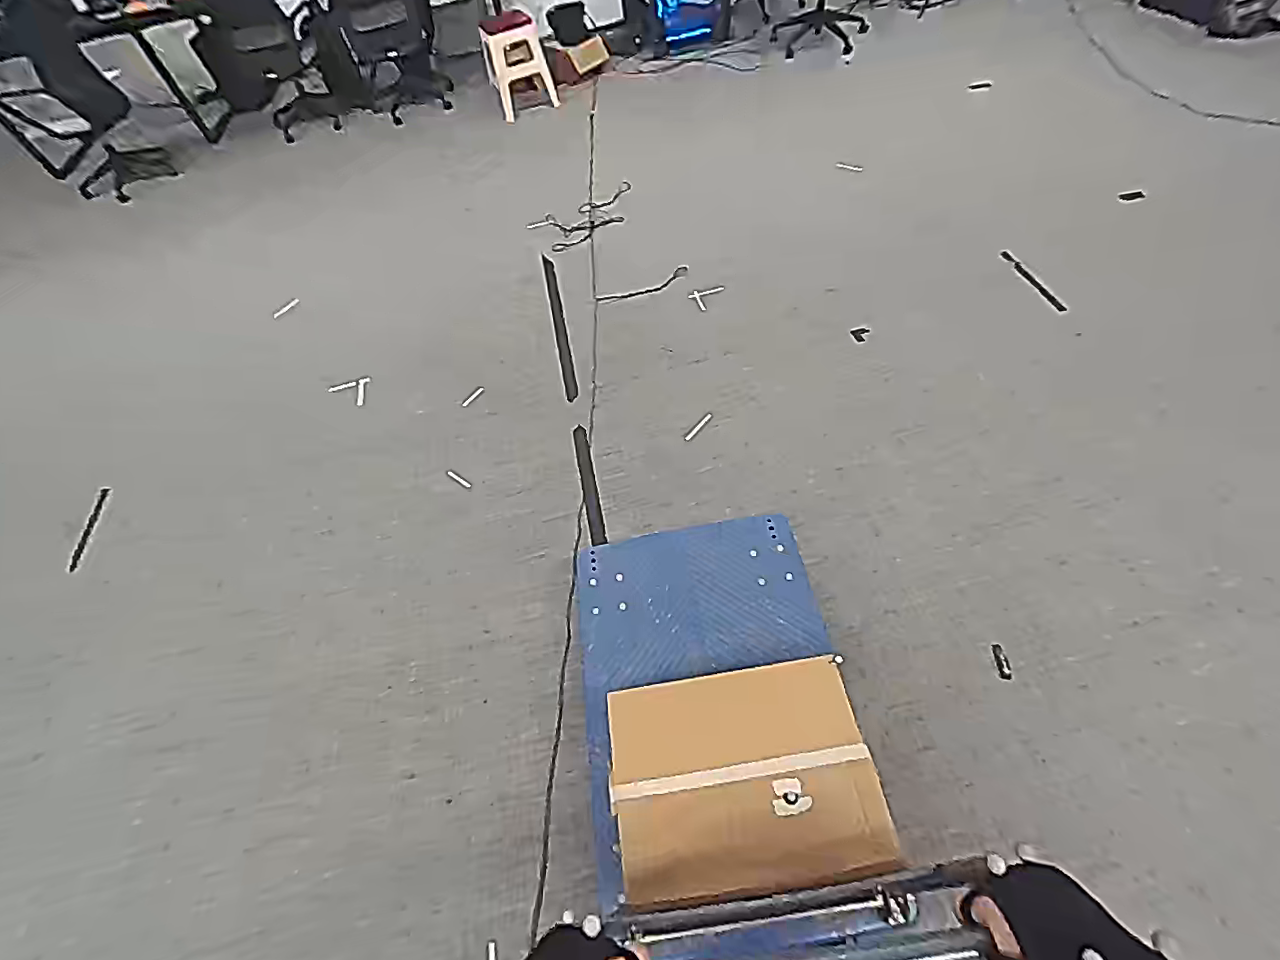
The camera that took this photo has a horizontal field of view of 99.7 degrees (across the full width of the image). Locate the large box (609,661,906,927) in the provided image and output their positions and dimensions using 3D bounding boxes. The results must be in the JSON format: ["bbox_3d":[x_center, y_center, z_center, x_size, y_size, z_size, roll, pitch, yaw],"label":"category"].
[{"bbox_3d":[0.177,0.559,0.965,0.408,0.320,0.320,-10,53,1],"label":"large box"}]
